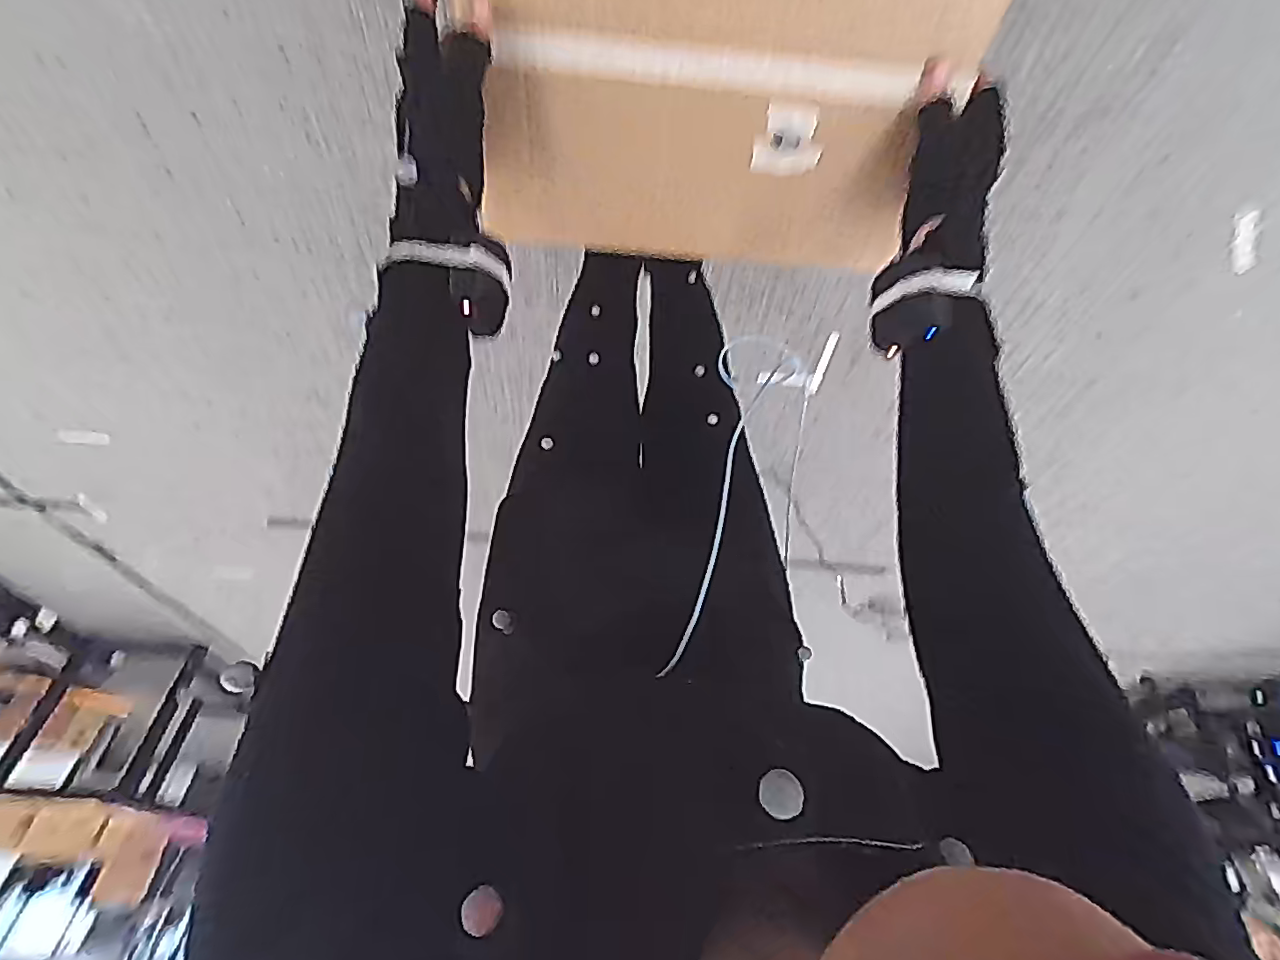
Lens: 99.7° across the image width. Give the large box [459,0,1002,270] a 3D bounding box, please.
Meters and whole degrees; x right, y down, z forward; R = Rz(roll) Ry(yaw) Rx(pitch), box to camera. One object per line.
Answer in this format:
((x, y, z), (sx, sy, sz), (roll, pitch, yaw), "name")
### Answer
((0.060, -0.436, 0.527), (0.408, 0.320, 0.320), (3, 140, -4), "large box")
